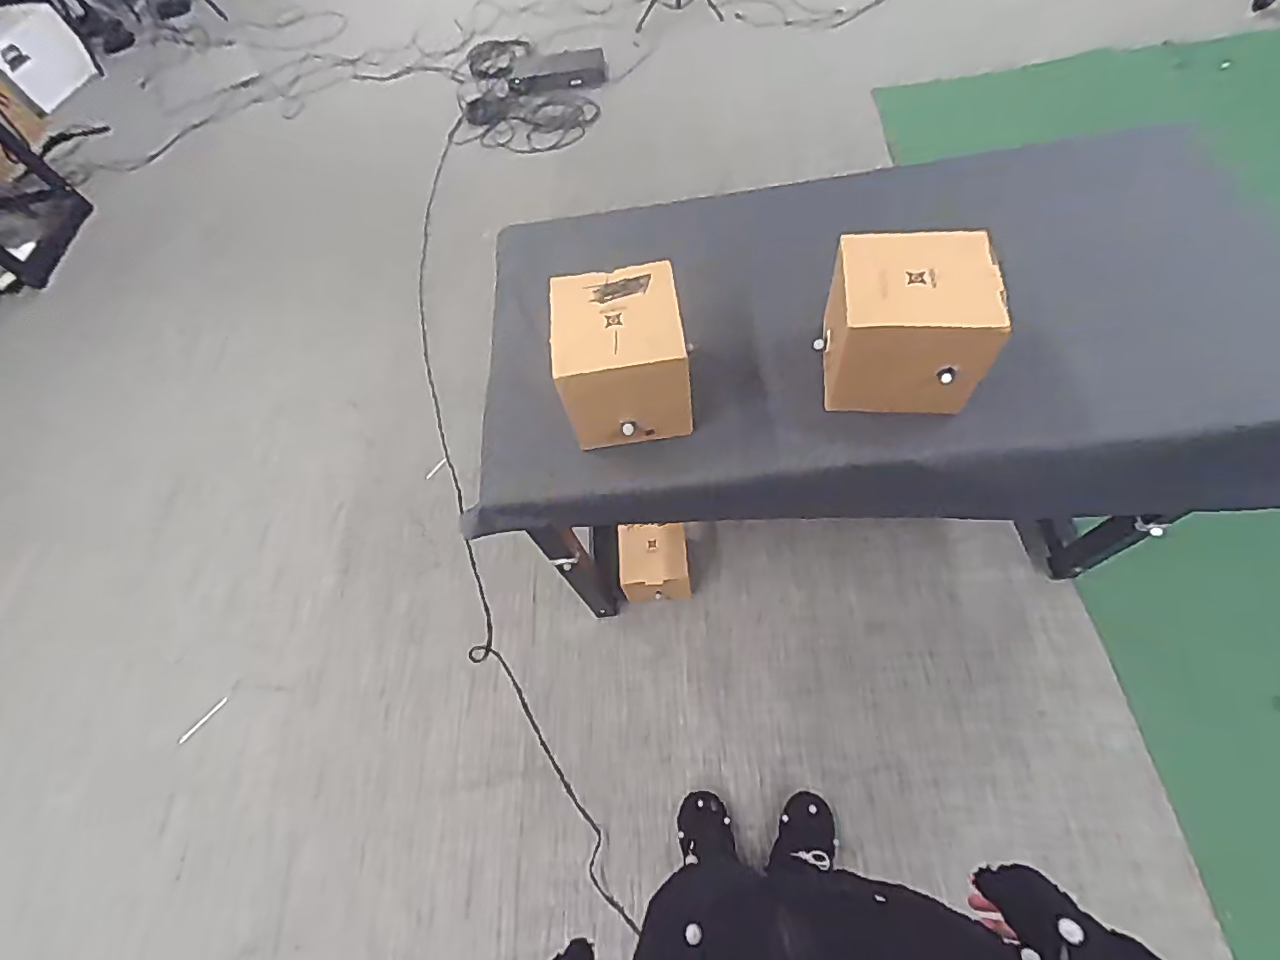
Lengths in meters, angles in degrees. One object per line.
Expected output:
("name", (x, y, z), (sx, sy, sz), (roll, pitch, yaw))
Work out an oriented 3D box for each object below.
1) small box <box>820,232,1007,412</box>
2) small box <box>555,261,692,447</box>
("small box", (0.348, -0.205, 0.727), (0.179, 0.176, 0.168), (2, 61, 10))
("small box", (-0.020, -0.170, 0.756), (0.168, 0.176, 0.179), (-8, 61, 3))
